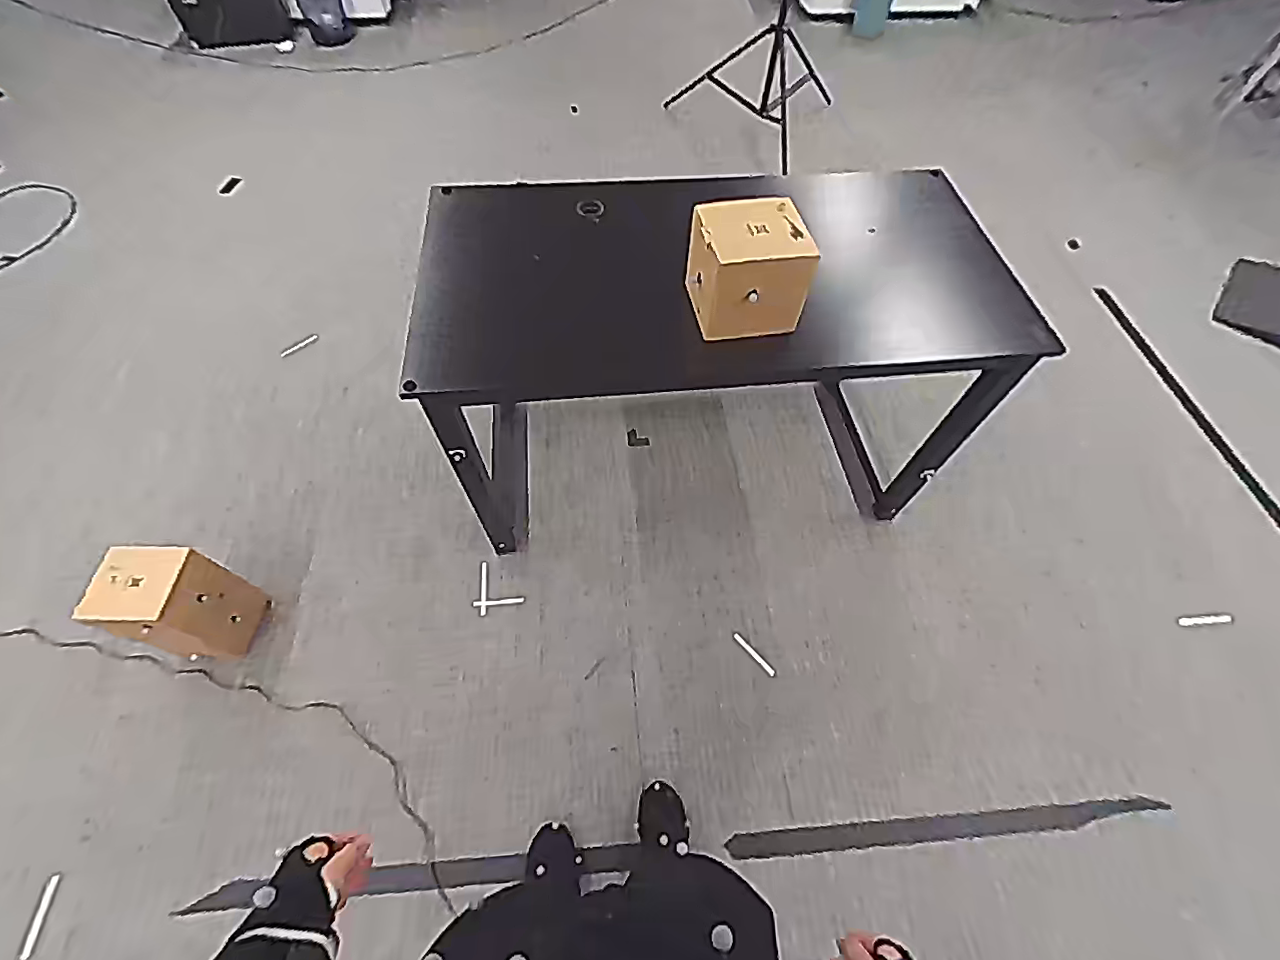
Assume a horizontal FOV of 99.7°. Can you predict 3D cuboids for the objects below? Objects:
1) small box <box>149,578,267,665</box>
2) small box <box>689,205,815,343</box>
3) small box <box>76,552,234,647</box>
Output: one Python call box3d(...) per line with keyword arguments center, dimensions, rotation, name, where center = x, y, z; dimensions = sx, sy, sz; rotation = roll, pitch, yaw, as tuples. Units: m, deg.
box3d(center=(-1.087, 0.353, 1.360), dimensions=(0.168, 0.176, 0.179), rotation=(3, 59, 1), name="small box")
box3d(center=(0.190, -0.368, 0.984), dimensions=(0.179, 0.176, 0.168), rotation=(-9, 59, -6), name="small box")
box3d(center=(-1.073, 0.271, 1.218), dimensions=(0.179, 0.176, 0.168), rotation=(0, 57, -1), name="small box")
